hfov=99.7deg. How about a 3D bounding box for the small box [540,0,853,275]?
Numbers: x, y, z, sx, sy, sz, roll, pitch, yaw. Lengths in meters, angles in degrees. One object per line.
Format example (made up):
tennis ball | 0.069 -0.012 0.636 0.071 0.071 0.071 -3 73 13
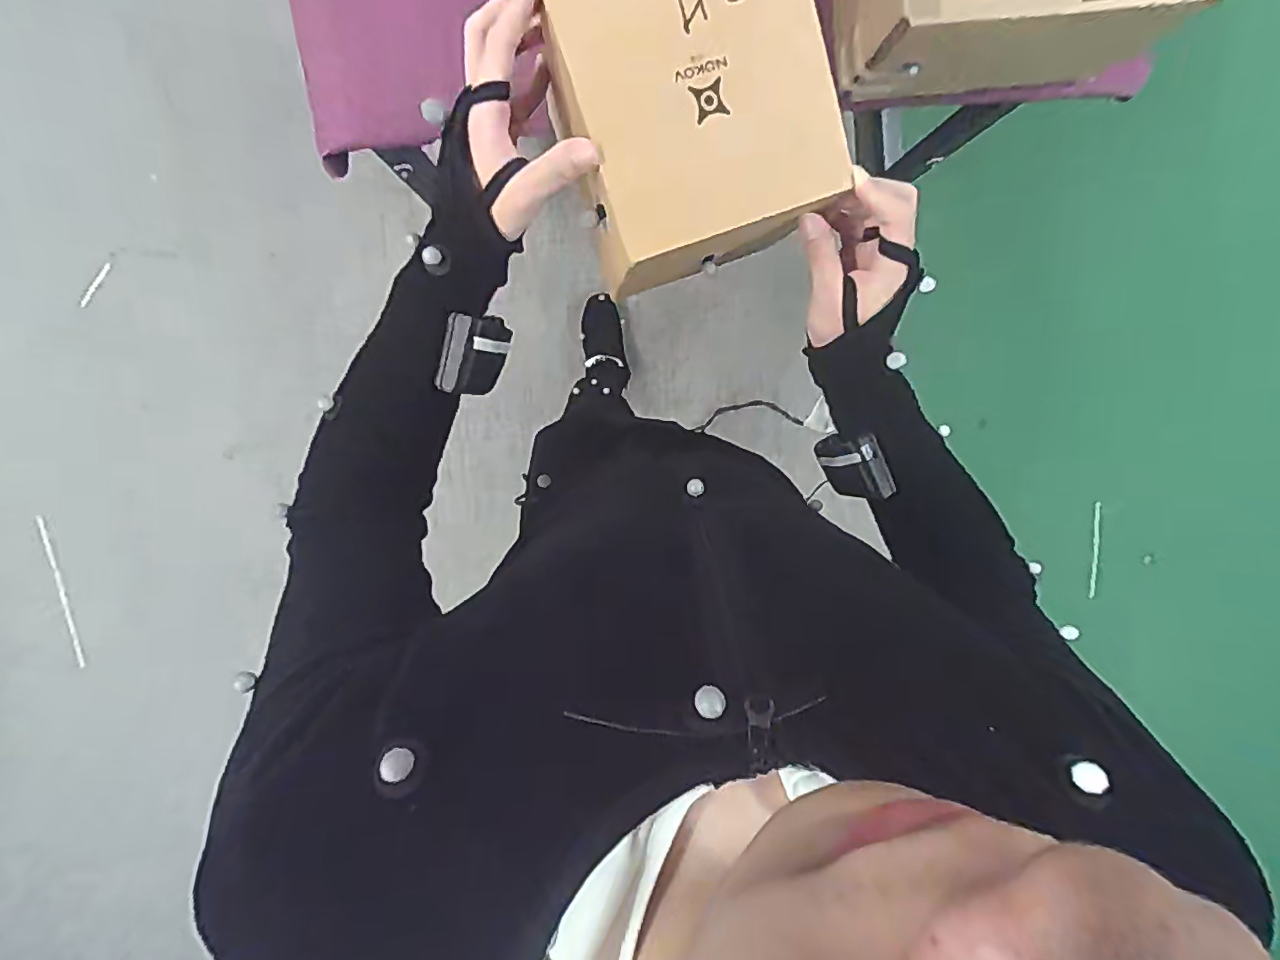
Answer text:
small box | 0.032 -0.272 0.418 0.168 0.176 0.179 -19 101 -4

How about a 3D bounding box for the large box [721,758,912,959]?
large box | 0.521 1.170 1.669 0.408 0.320 0.320 -38 99 3
